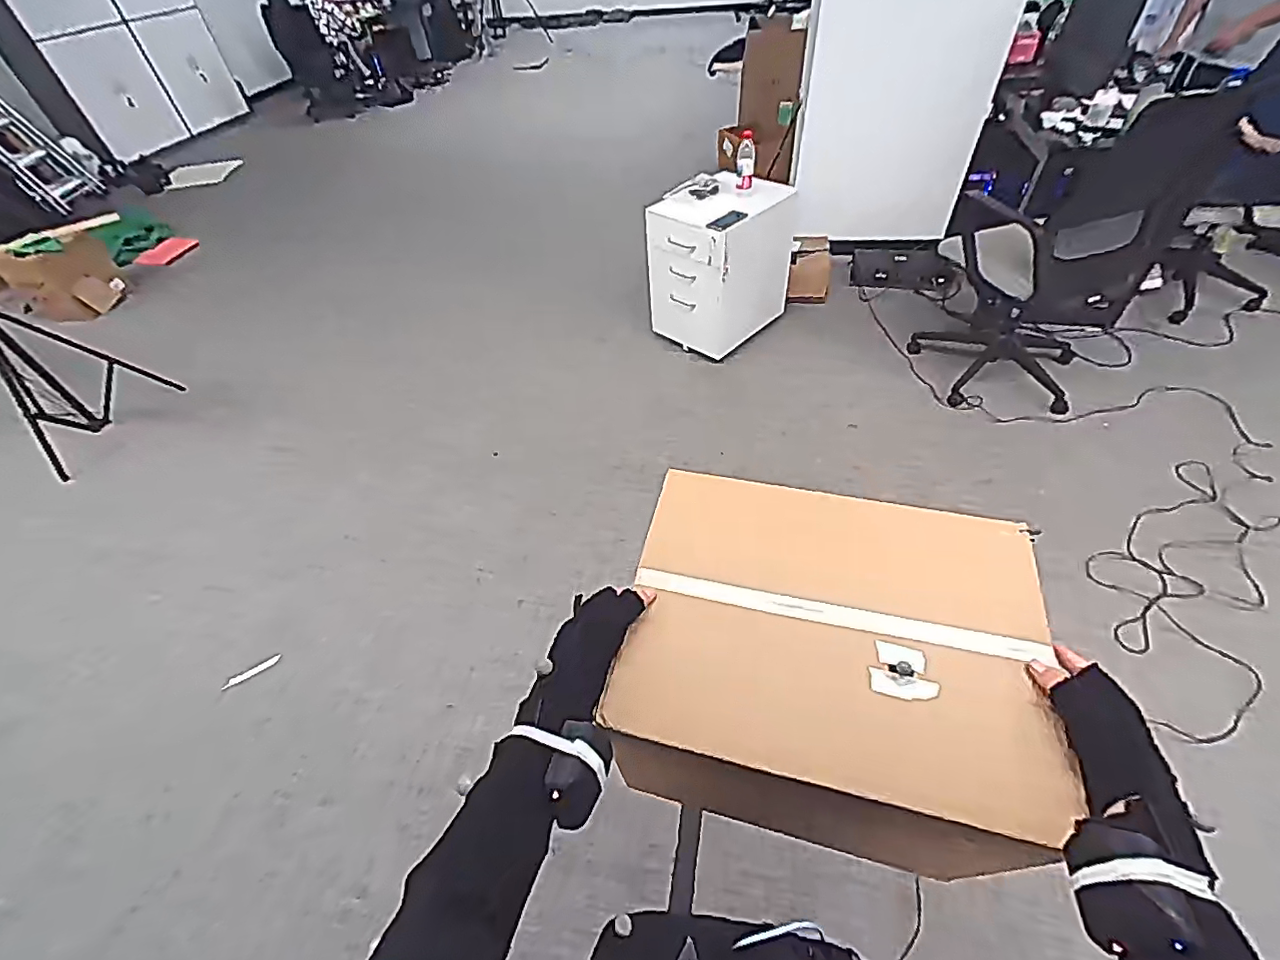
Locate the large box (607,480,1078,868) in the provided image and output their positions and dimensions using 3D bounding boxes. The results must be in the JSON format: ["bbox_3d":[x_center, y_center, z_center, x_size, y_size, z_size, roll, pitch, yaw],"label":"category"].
[{"bbox_3d":[0.202,0.236,0.671,0.408,0.320,0.320,9,54,12],"label":"large box"}]
